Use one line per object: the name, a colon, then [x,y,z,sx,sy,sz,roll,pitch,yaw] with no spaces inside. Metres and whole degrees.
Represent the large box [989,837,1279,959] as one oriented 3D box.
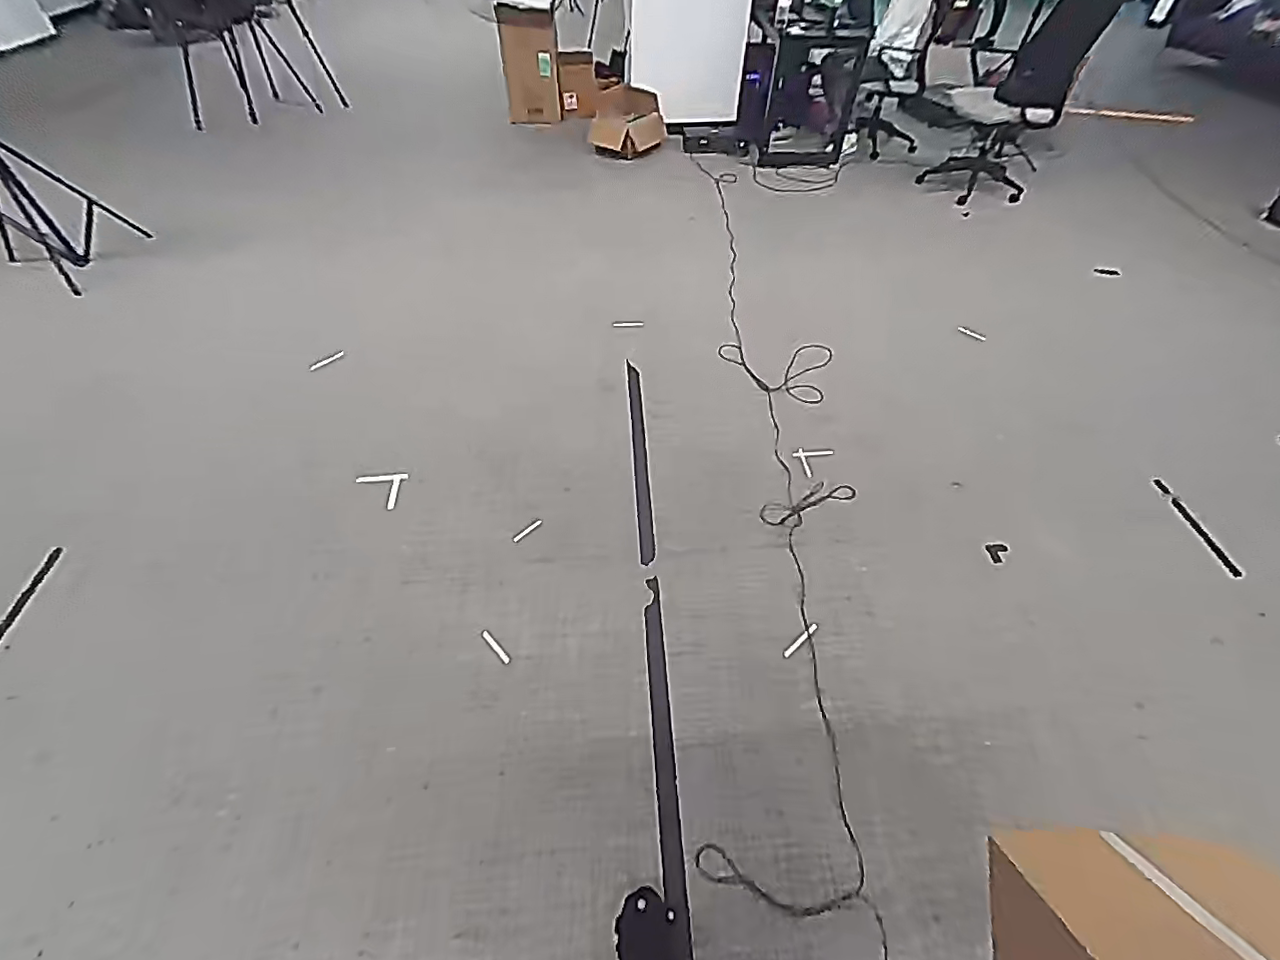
large box: [0.635,0.664,0.571,0.320,0.408,0.320,-1,88,6]
